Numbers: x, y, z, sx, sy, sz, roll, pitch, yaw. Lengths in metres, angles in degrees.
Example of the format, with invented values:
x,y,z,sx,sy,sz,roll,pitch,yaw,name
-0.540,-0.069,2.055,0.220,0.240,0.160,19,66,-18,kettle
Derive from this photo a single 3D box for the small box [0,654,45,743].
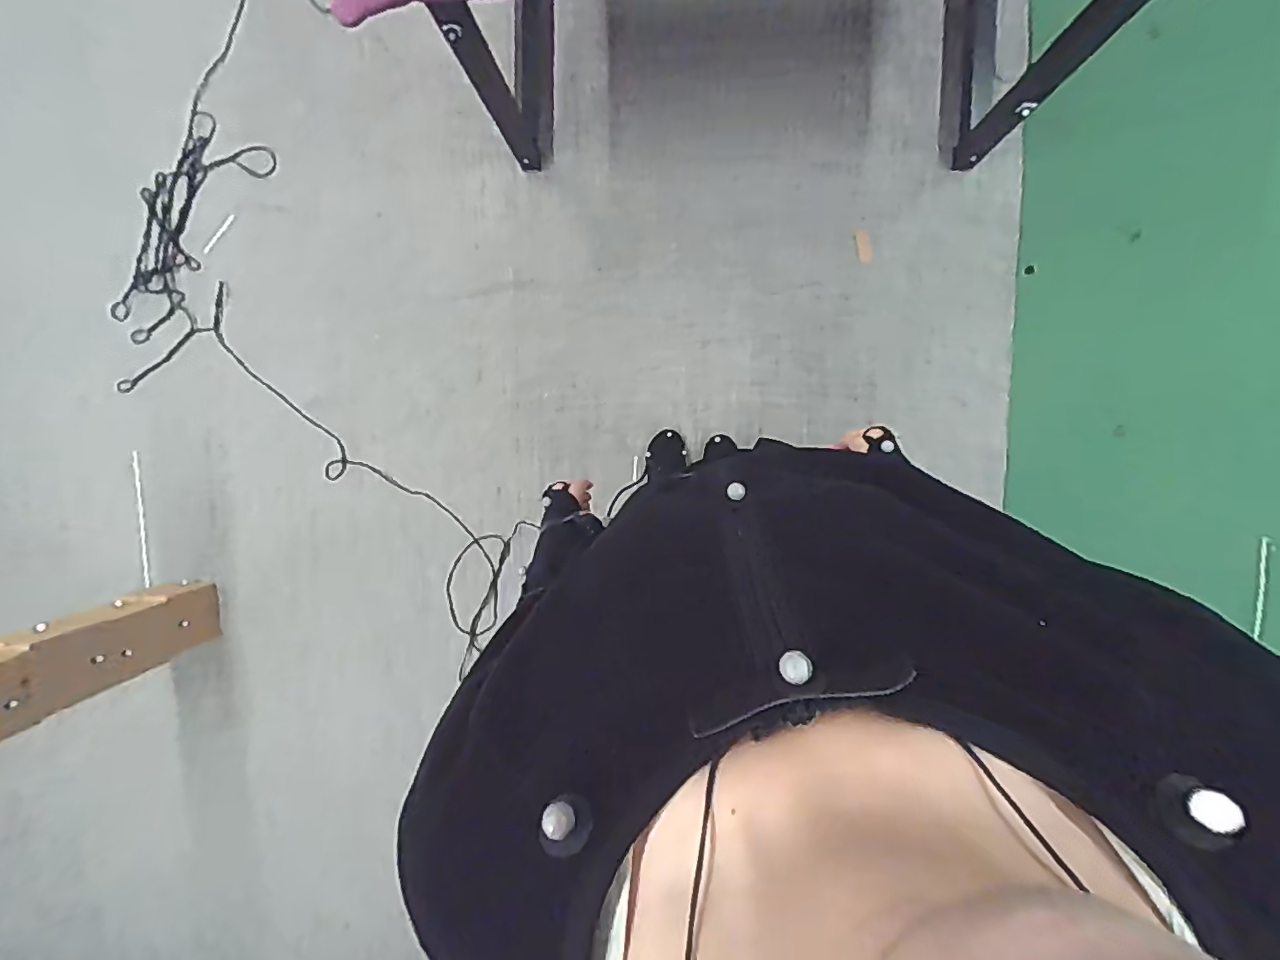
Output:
x,y,z,sx,sy,sz,roll,pitch,yaw,name
-1.387,0.464,1.097,0.179,0.176,0.168,-3,94,3,small box

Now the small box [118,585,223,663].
x,y,z,sx,sy,sz,roll,pitch,yaw,name
-1.366,0.417,1.584,0.168,0.176,0.179,-1,93,5,small box

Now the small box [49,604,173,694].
x,y,z,sx,sy,sz,roll,pitch,yaw,name
-1.379,0.439,1.422,0.168,0.176,0.179,-1,94,4,small box

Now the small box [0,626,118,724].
x,y,z,sx,sy,sz,roll,pitch,yaw,name
-1.378,0.446,1.259,0.168,0.176,0.179,-3,93,4,small box
